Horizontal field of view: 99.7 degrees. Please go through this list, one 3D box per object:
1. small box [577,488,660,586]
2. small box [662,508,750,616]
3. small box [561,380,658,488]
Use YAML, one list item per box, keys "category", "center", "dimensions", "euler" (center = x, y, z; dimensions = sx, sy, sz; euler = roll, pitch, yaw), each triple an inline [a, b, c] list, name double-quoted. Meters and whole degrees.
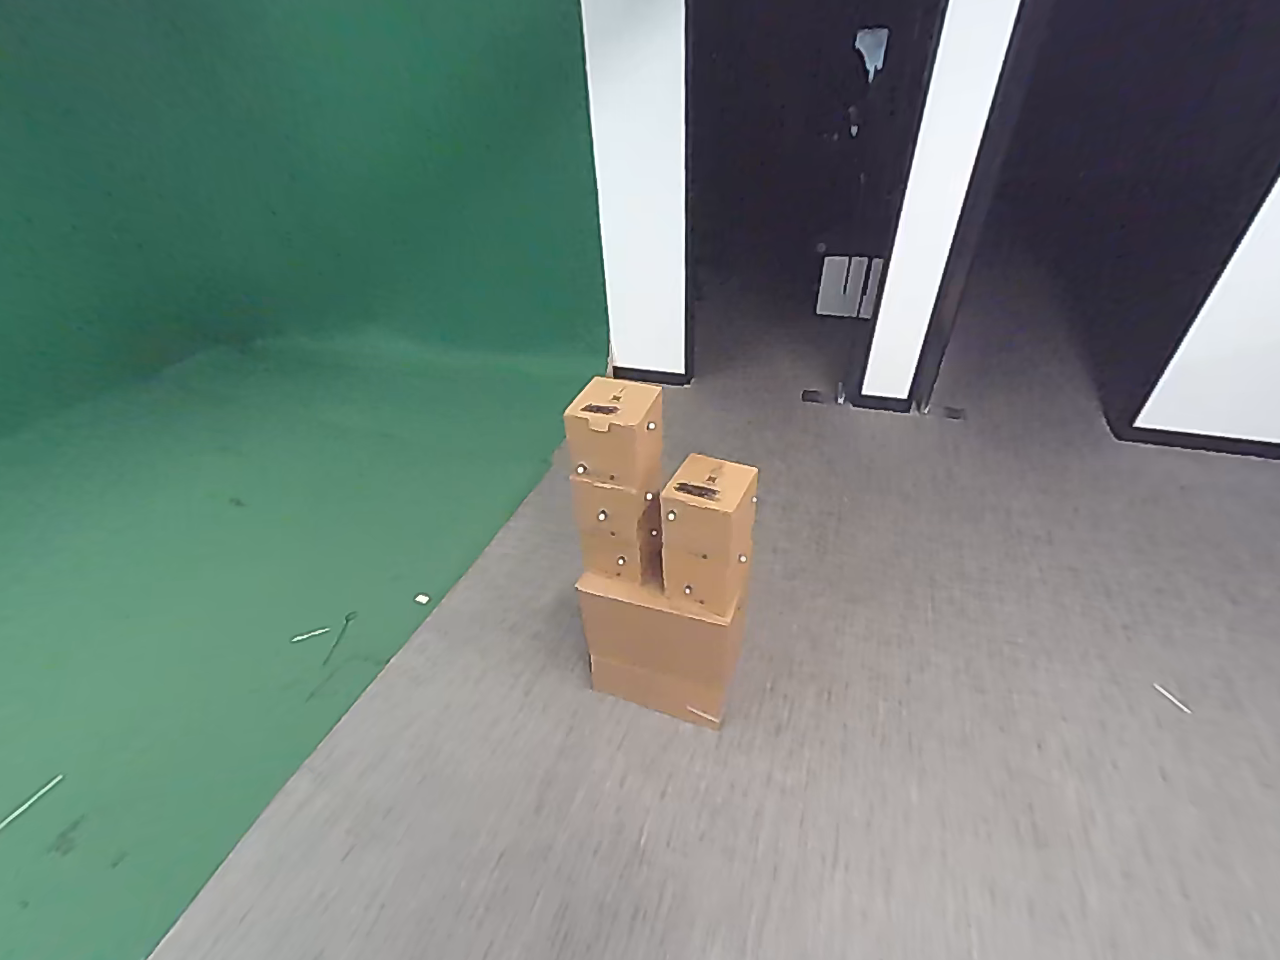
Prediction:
- category: "small box"
  center: [-0.050, 0.153, 1.429]
  dimensions: [0.168, 0.176, 0.179]
  euler: [13, 40, 17]
- category: "small box"
  center: [0.163, 0.202, 1.345]
  dimensions: [0.168, 0.176, 0.179]
  euler: [14, 41, 23]
- category: "small box"
  center: [-0.059, -0.103, 1.223]
  dimensions: [0.168, 0.176, 0.179]
  euler: [12, 39, 16]
